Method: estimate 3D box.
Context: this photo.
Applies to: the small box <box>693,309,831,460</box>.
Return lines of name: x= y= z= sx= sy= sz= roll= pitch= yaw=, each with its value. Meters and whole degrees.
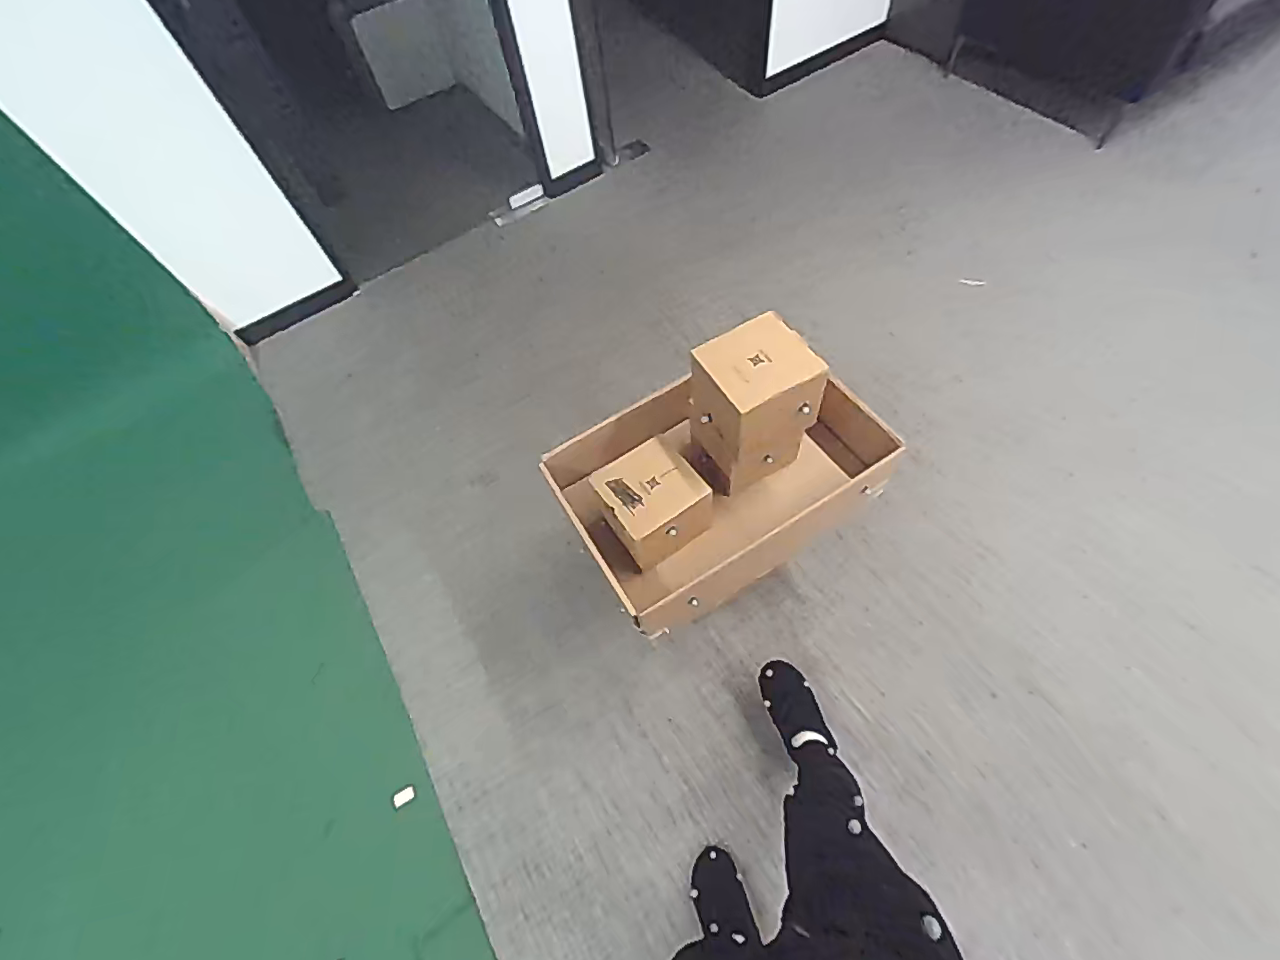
small box: x=0.211 y=-0.168 z=0.979 sx=0.179 sy=0.176 sz=0.168 roll=-28 pitch=61 yaw=-7
